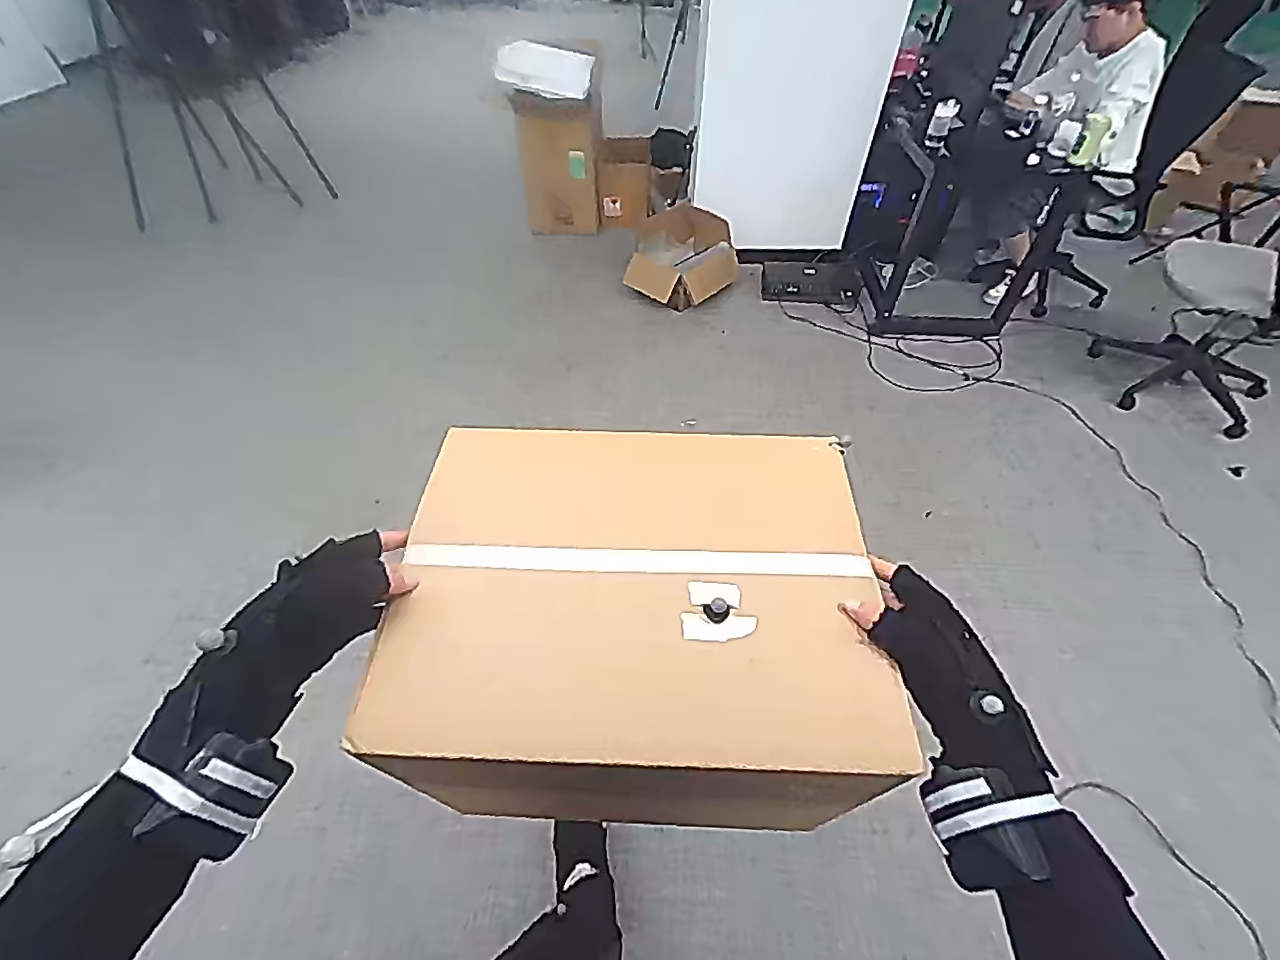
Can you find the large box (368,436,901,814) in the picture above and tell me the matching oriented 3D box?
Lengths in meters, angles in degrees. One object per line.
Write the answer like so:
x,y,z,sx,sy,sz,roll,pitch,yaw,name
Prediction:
-0.004,0.169,0.604,0.408,0.320,0.320,2,52,1,large box
